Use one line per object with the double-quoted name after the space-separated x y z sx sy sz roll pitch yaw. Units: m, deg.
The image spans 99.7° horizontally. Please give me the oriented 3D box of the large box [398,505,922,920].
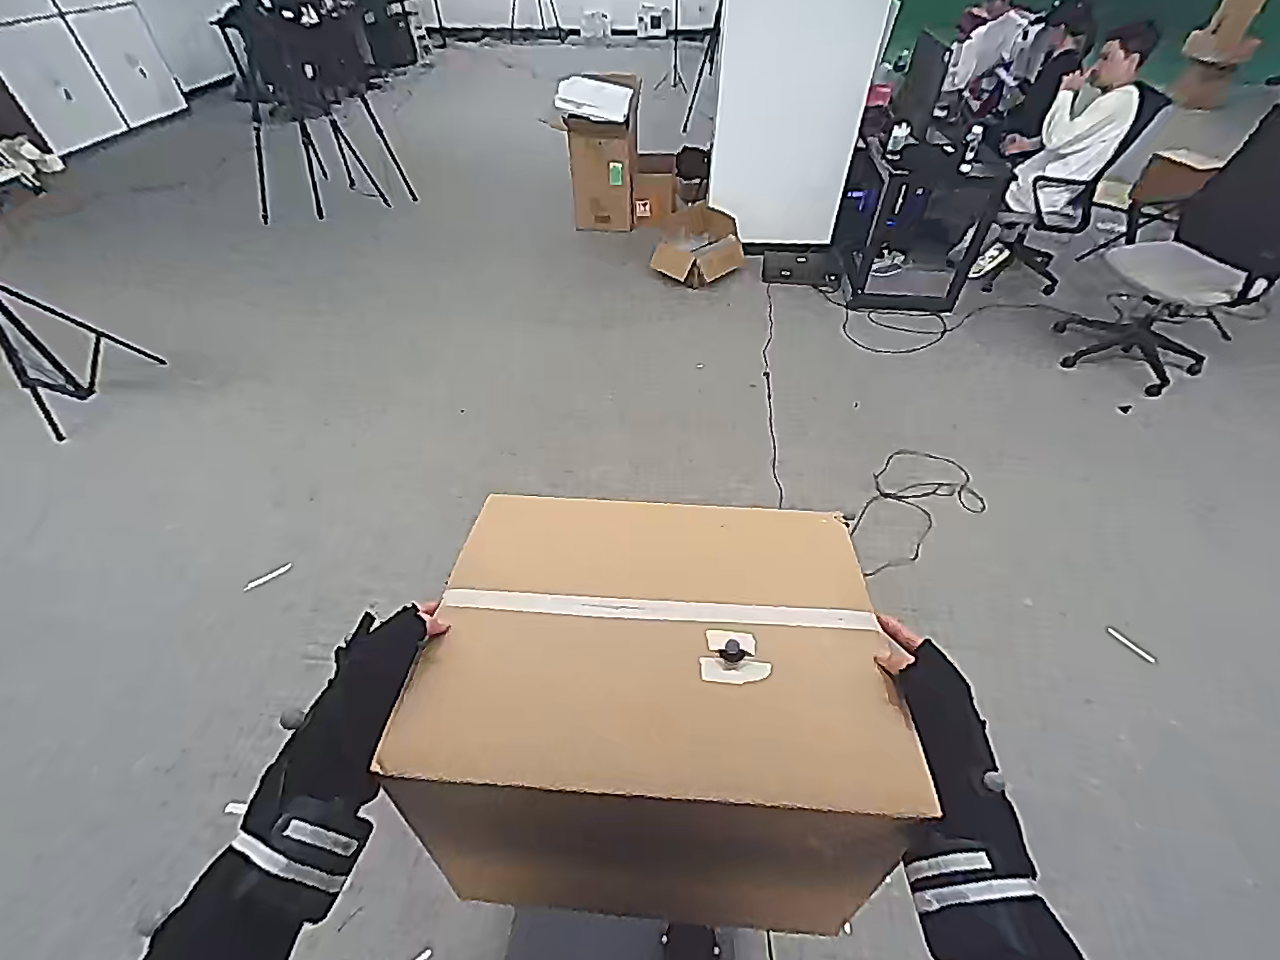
0.017 0.250 0.609 0.408 0.320 0.320 3 39 3 "large box"
